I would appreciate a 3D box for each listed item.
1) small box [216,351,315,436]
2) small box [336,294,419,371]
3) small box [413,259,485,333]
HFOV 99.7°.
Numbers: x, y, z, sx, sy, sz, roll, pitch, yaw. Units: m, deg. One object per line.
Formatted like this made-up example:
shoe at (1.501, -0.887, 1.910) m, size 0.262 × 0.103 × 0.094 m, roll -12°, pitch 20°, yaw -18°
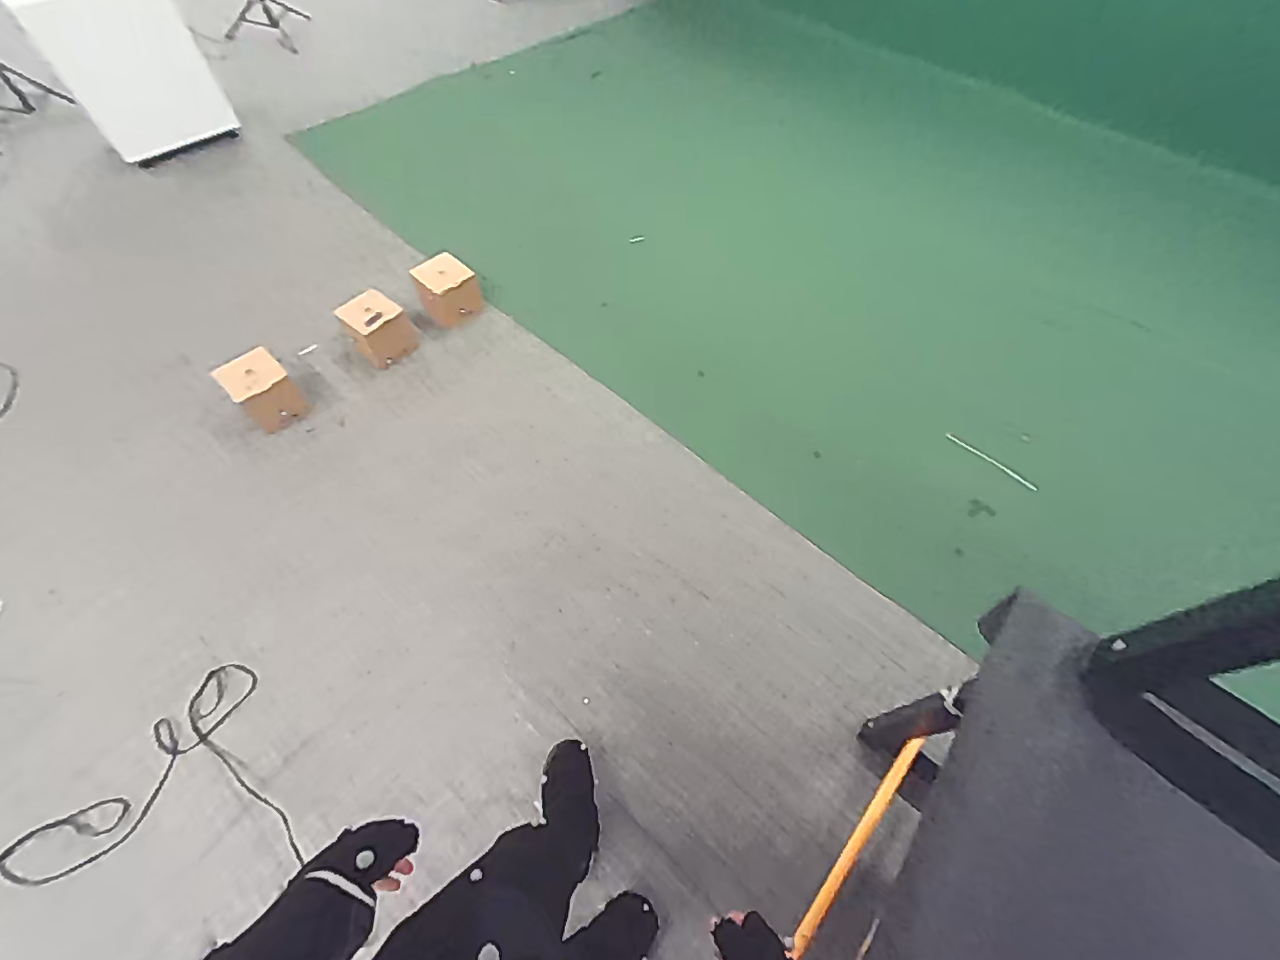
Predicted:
small box at (-1.189, -0.272, 1.728) m, size 0.179 × 0.176 × 0.168 m, roll 40°, pitch 65°, yaw 20°
small box at (-0.910, -0.509, 1.894) m, size 0.179 × 0.176 × 0.168 m, roll 34°, pitch 62°, yaw 19°
small box at (-0.707, -0.681, 2.016) m, size 0.179 × 0.176 × 0.168 m, roll 39°, pitch 64°, yaw 19°
